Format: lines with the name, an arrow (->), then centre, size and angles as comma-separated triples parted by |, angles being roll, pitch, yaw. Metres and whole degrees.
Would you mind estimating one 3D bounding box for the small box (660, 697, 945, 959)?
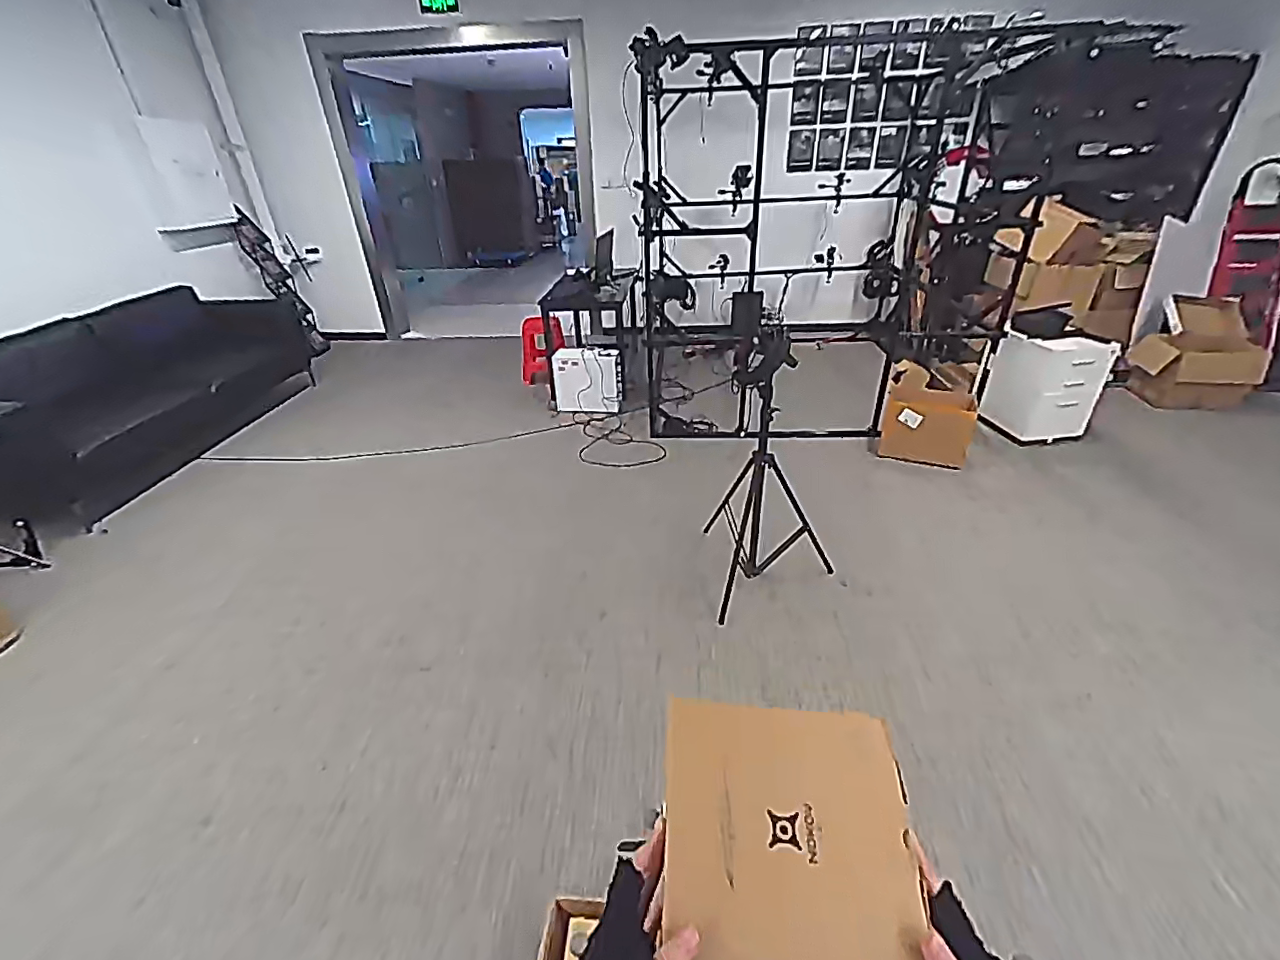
small box -> 0.108, 0.290, 0.441 | 0.179, 0.176, 0.168 | 2, 52, 3
